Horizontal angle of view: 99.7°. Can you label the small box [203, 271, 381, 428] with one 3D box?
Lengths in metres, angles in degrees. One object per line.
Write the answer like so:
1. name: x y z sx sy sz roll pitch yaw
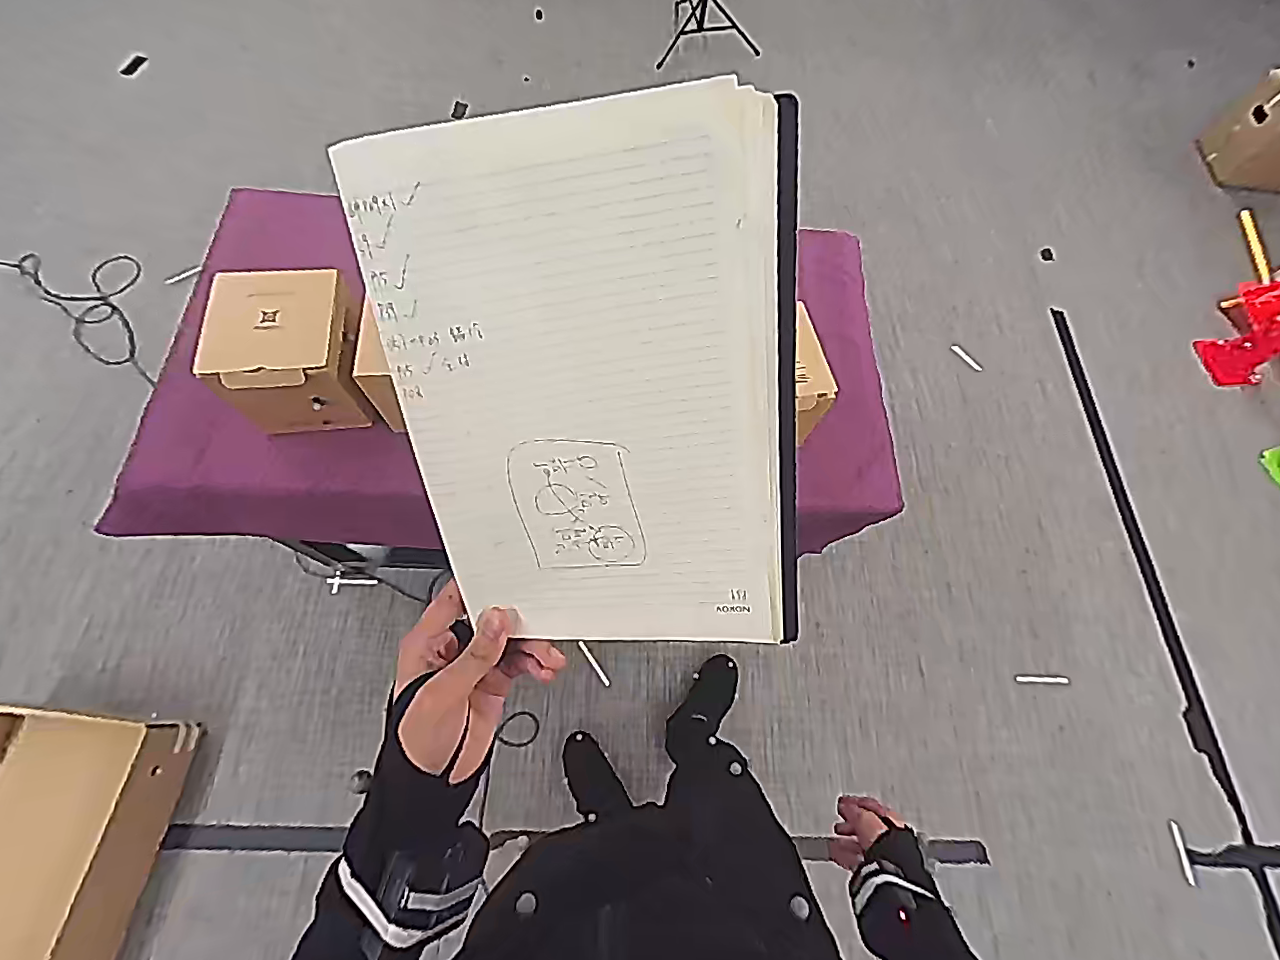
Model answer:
1. small box: -0.509 -0.188 0.822 0.168 0.176 0.179 -4 68 -7
